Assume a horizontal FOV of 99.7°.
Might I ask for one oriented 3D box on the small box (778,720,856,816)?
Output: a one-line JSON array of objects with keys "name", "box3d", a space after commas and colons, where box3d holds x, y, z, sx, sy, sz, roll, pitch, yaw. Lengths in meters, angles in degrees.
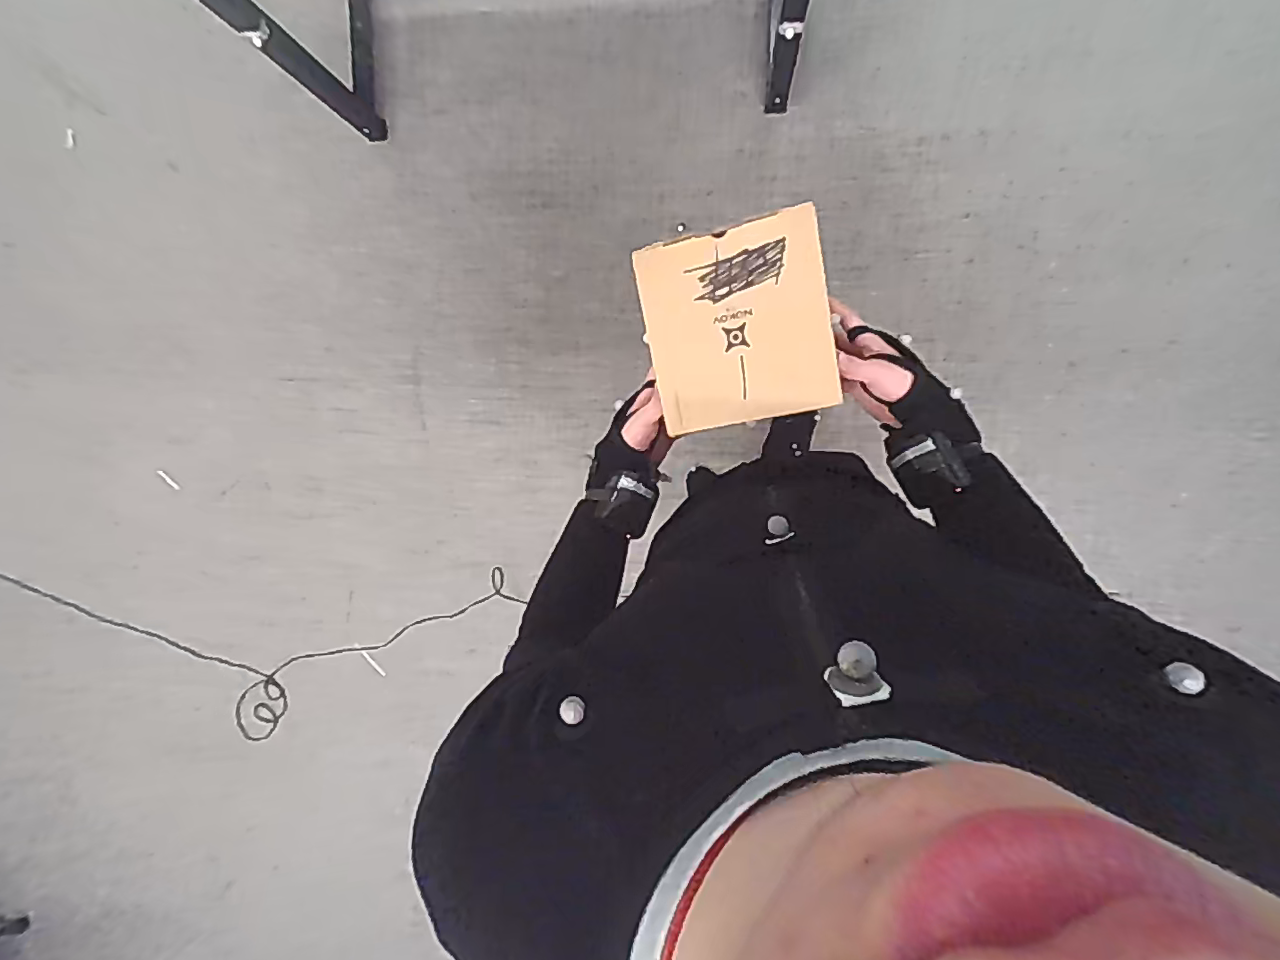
[{"name": "small box", "box3d": [0.485, 0.791, 1.503, 0.168, 0.176, 0.179, -12, 96, 11]}]
